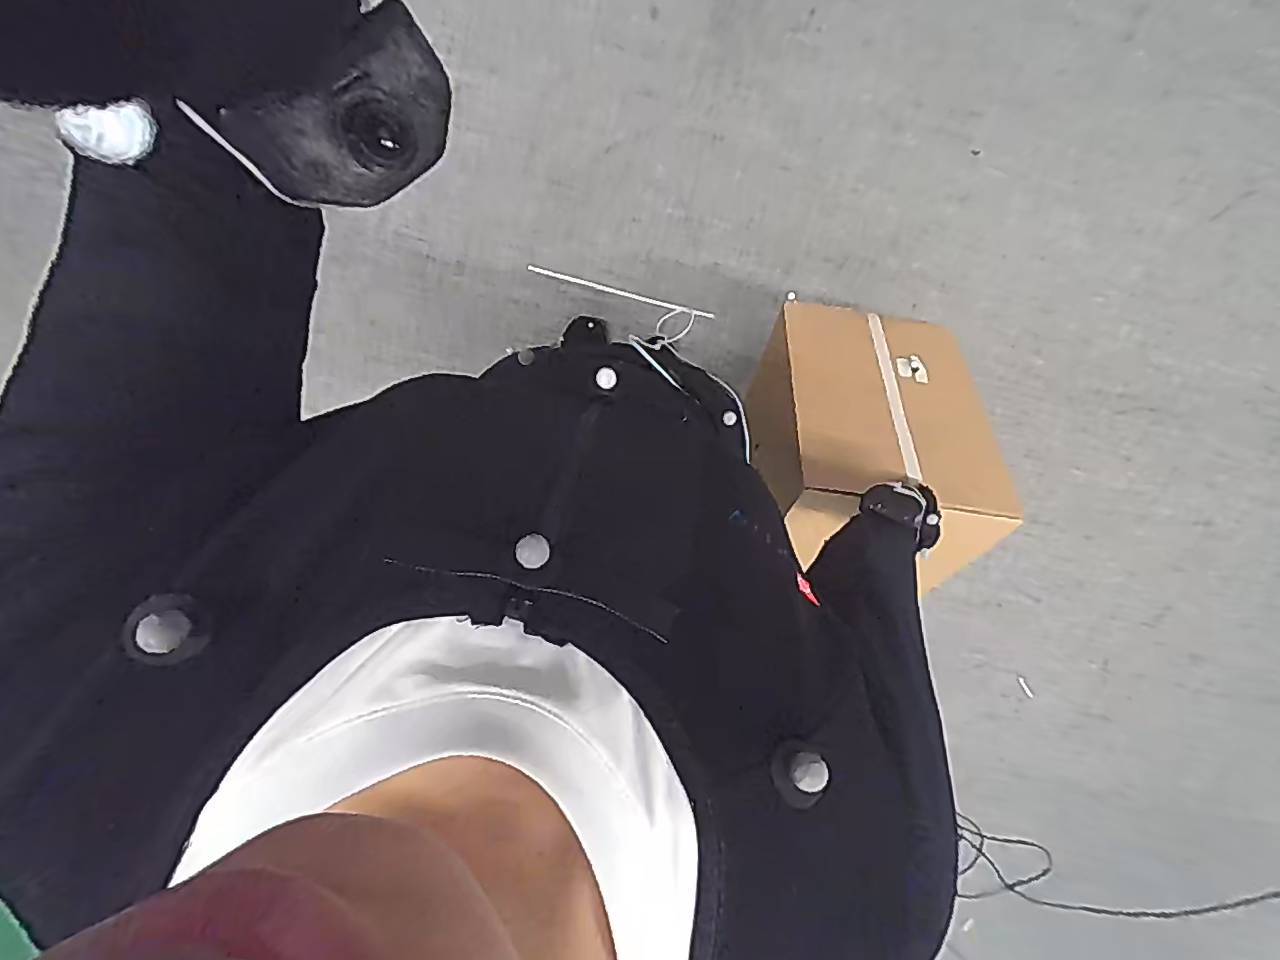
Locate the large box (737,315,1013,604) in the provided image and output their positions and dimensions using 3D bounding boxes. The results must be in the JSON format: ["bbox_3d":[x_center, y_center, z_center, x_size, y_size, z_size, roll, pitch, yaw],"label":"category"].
[{"bbox_3d":[0.367,-0.030,0.977,0.320,0.408,0.320,9,144,-4],"label":"large box"}]
